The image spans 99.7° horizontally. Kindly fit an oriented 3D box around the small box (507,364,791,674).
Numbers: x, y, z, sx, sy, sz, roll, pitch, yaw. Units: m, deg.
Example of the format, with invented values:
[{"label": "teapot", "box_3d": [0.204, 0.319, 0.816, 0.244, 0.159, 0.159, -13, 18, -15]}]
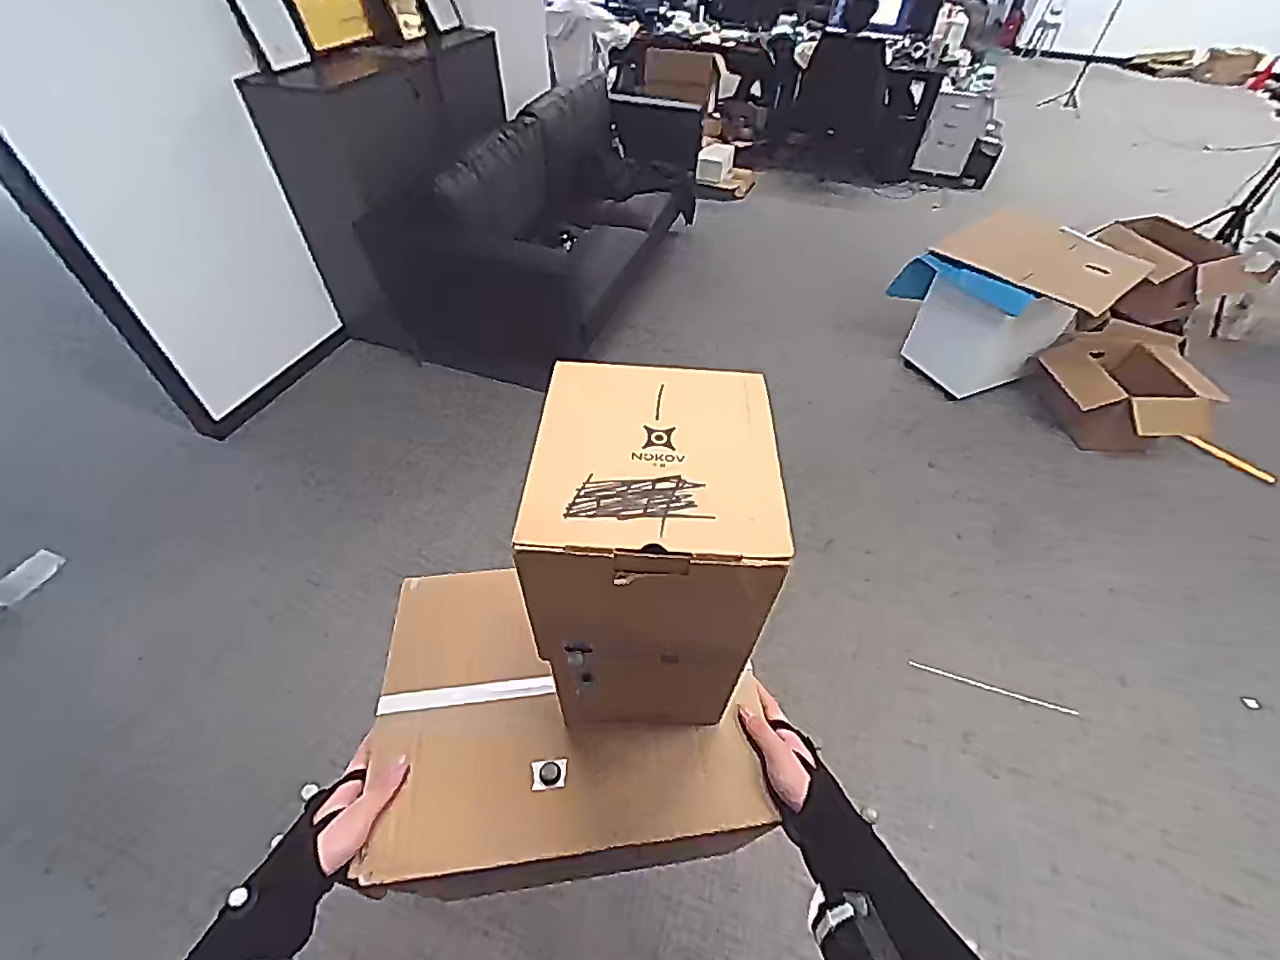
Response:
[{"label": "small box", "box_3d": [0.008, 0.033, 0.418, 0.168, 0.176, 0.179, 4, 48, 1]}]
